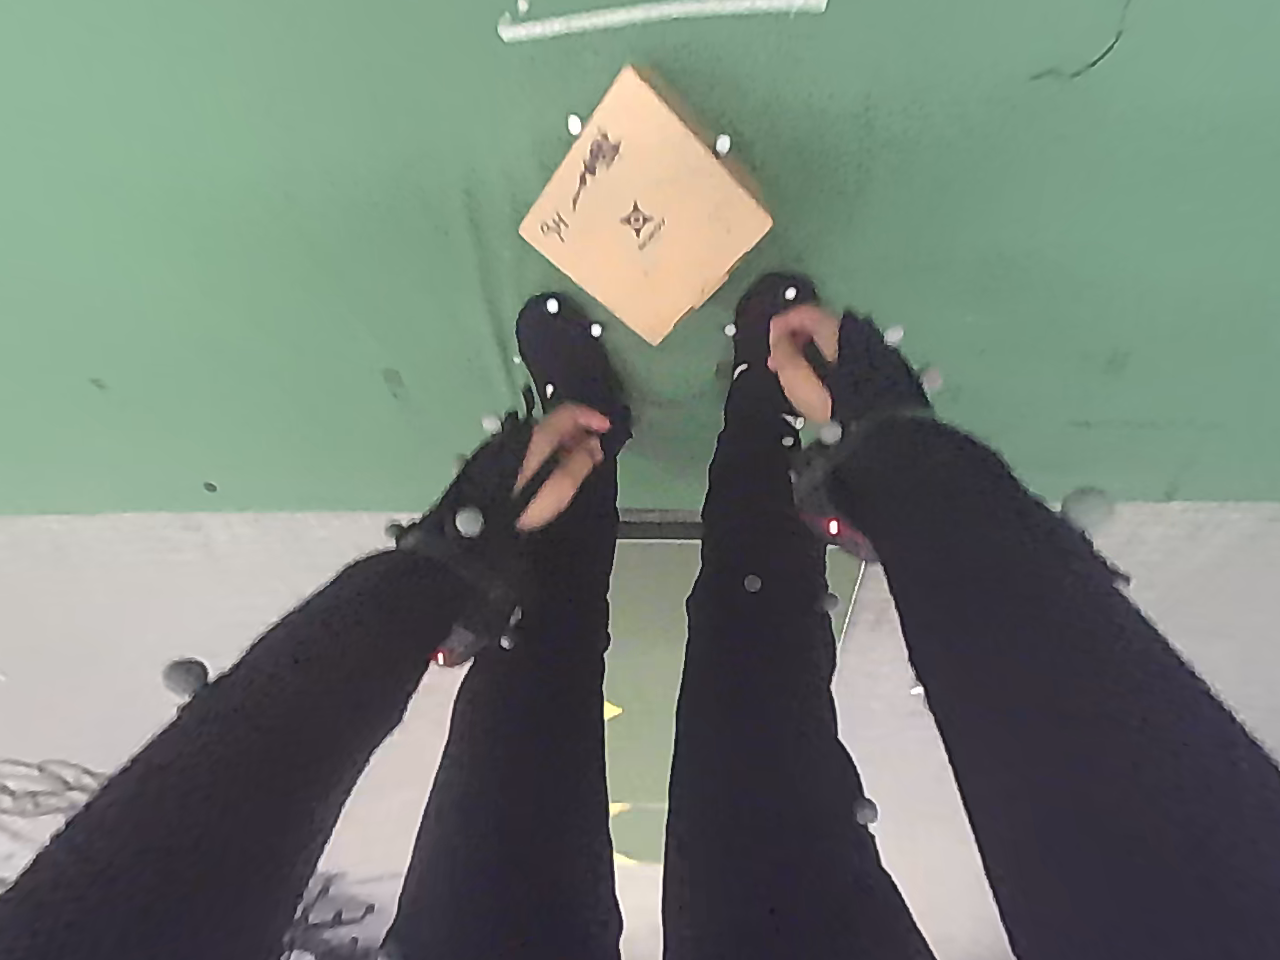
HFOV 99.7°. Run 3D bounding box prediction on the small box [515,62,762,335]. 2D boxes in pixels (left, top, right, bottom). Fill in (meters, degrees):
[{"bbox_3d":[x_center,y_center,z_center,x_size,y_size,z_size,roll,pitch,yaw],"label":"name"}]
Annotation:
[{"bbox_3d":[0.003,-0.295,0.563,0.179,0.176,0.168,36,124,-23],"label":"small box"}]
